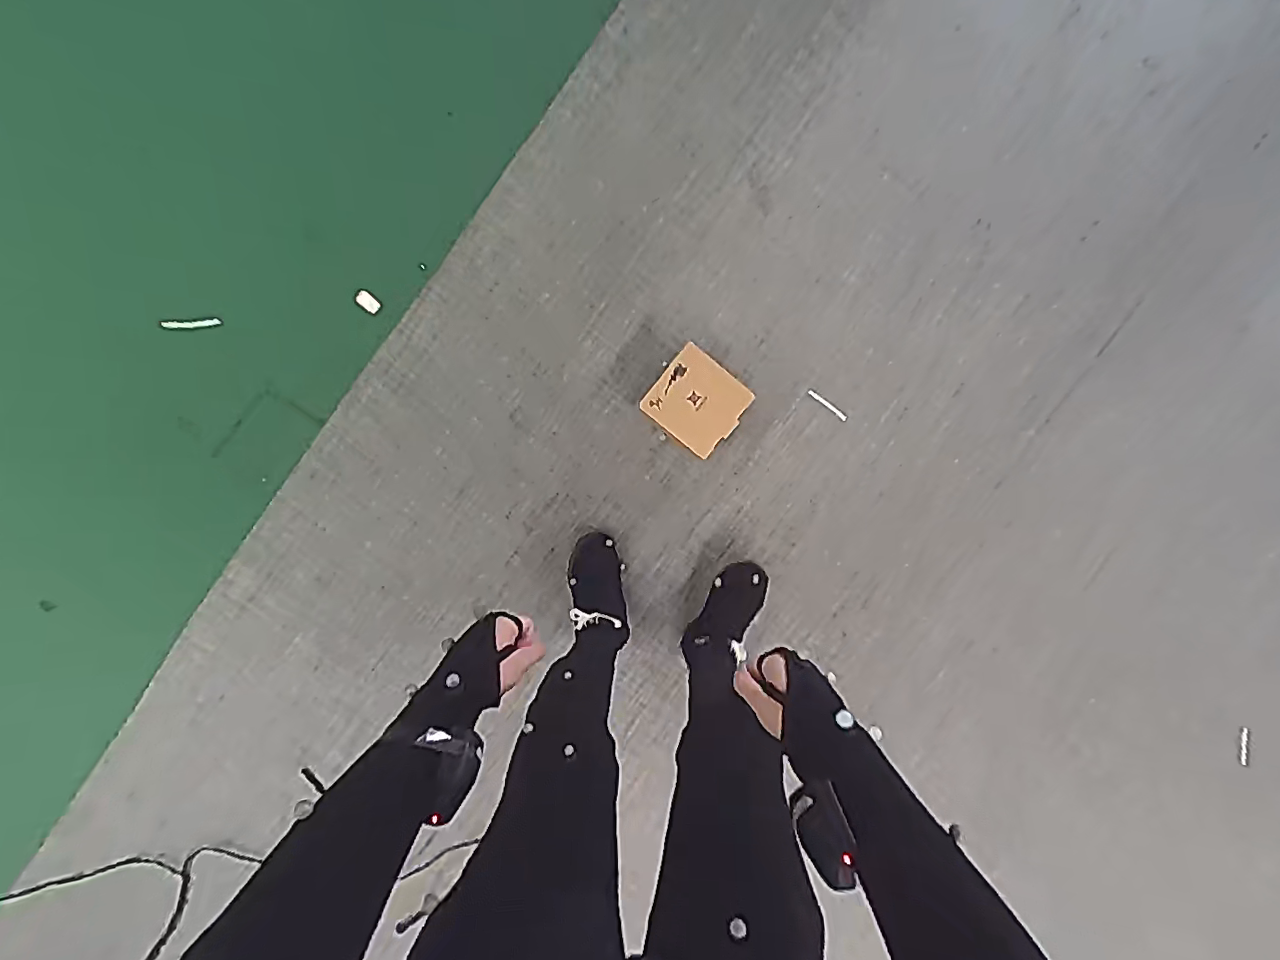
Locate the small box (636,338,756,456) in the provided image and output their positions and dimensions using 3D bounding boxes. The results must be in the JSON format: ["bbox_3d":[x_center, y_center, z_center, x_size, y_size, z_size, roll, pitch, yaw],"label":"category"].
[{"bbox_3d":[0.109,-0.173,1.137,0.179,0.176,0.168,38,93,-6],"label":"small box"}]
